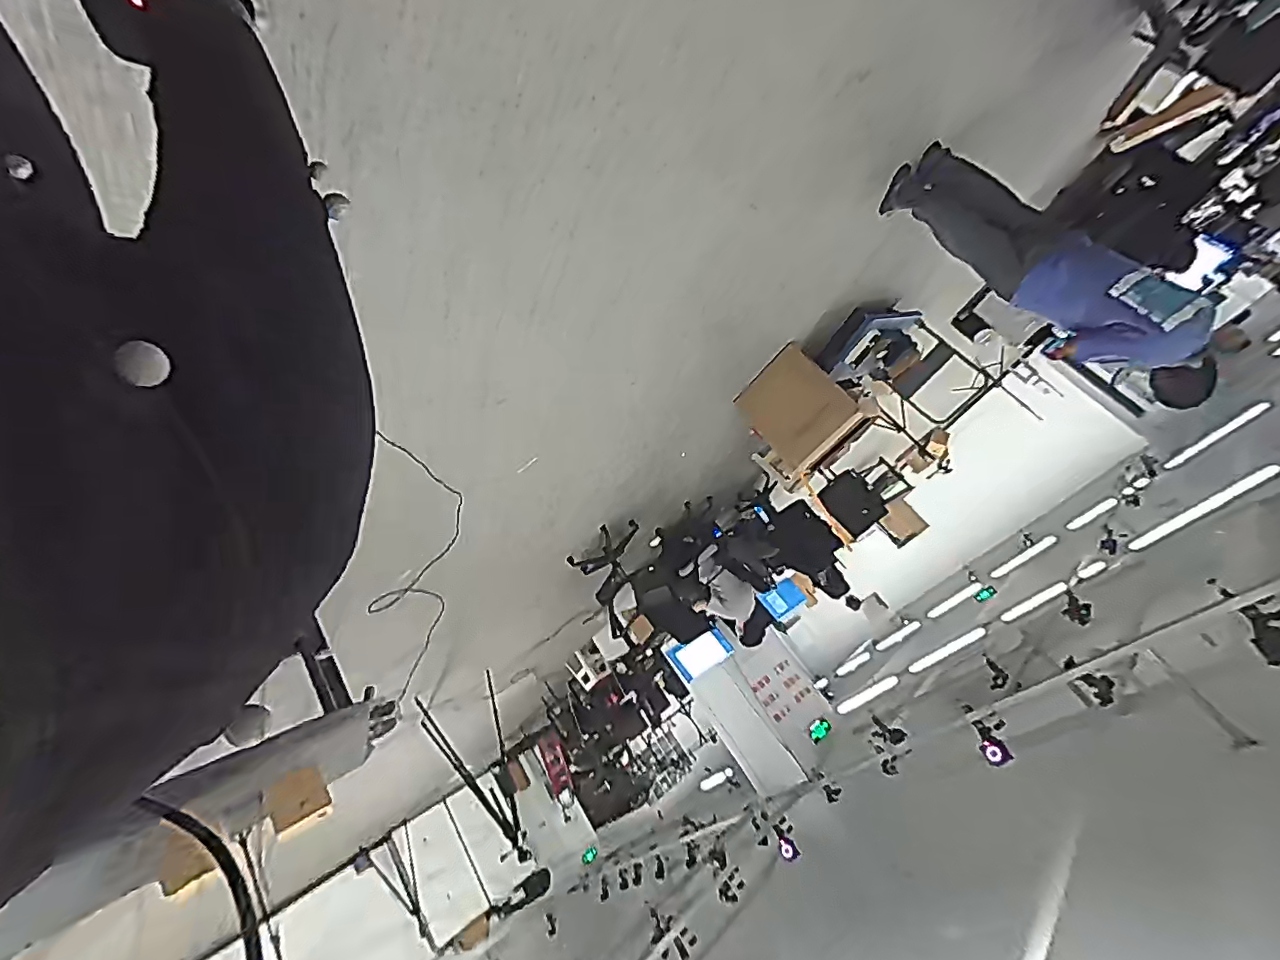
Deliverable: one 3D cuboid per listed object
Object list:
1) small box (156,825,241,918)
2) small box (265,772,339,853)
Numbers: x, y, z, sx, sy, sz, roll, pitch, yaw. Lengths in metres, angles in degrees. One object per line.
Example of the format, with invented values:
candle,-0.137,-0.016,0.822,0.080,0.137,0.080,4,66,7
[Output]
small box,-1.407,1.244,1.726,0.168,0.176,0.179,-19,151,-39
small box,-1.194,1.172,1.914,0.179,0.176,0.168,-19,151,-37
